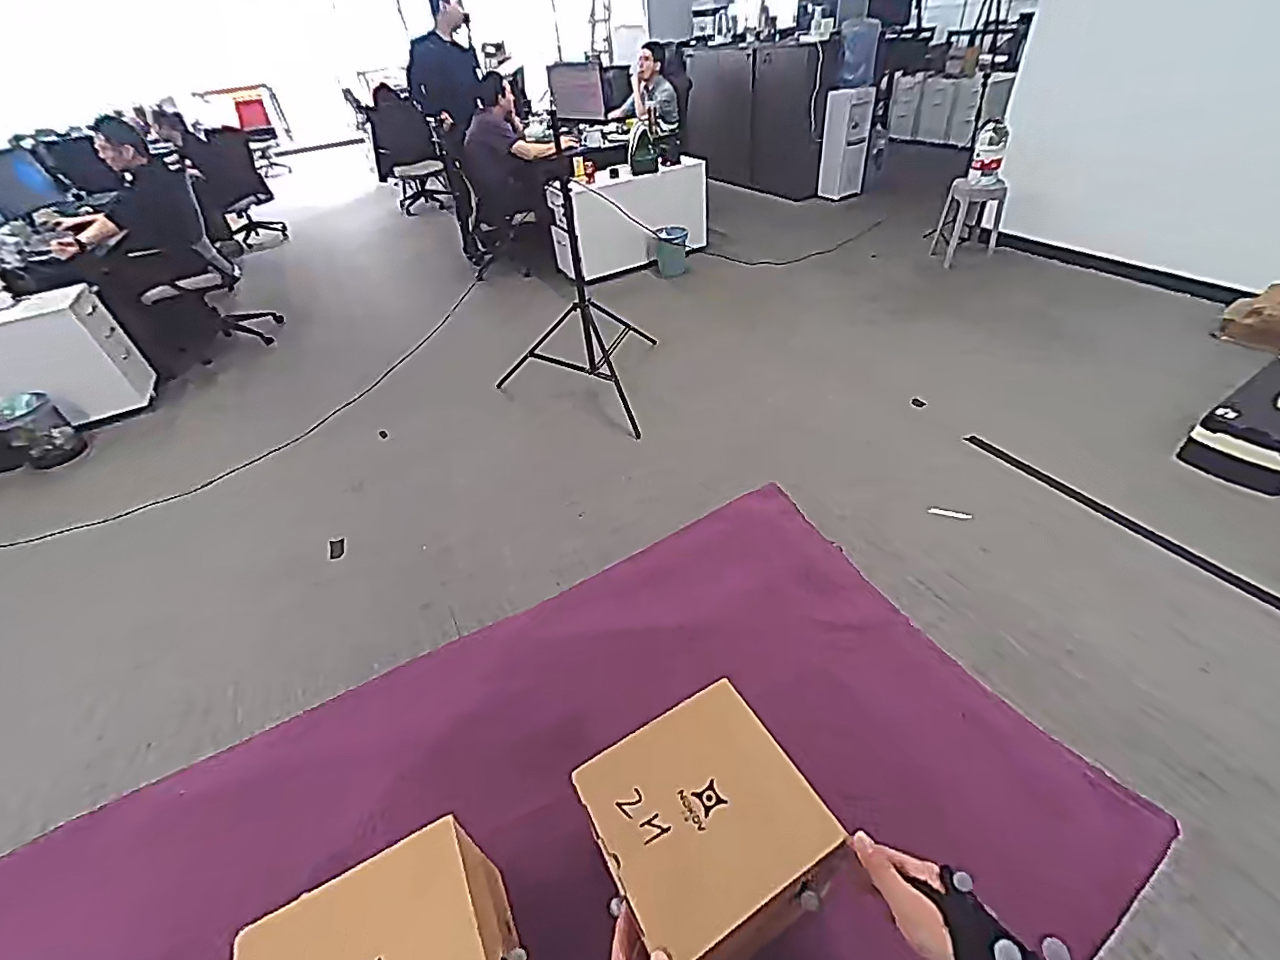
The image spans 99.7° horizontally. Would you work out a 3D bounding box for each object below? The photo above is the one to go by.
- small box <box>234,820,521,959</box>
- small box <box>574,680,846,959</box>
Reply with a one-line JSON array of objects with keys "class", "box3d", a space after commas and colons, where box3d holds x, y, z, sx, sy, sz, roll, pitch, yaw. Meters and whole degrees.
[{"class": "small box", "box3d": [-0.193, 0.429, 0.442, 0.179, 0.176, 0.168, -24, 43, -17]}, {"class": "small box", "box3d": [0.060, 0.333, 0.508, 0.179, 0.176, 0.168, -24, 42, -18]}]
